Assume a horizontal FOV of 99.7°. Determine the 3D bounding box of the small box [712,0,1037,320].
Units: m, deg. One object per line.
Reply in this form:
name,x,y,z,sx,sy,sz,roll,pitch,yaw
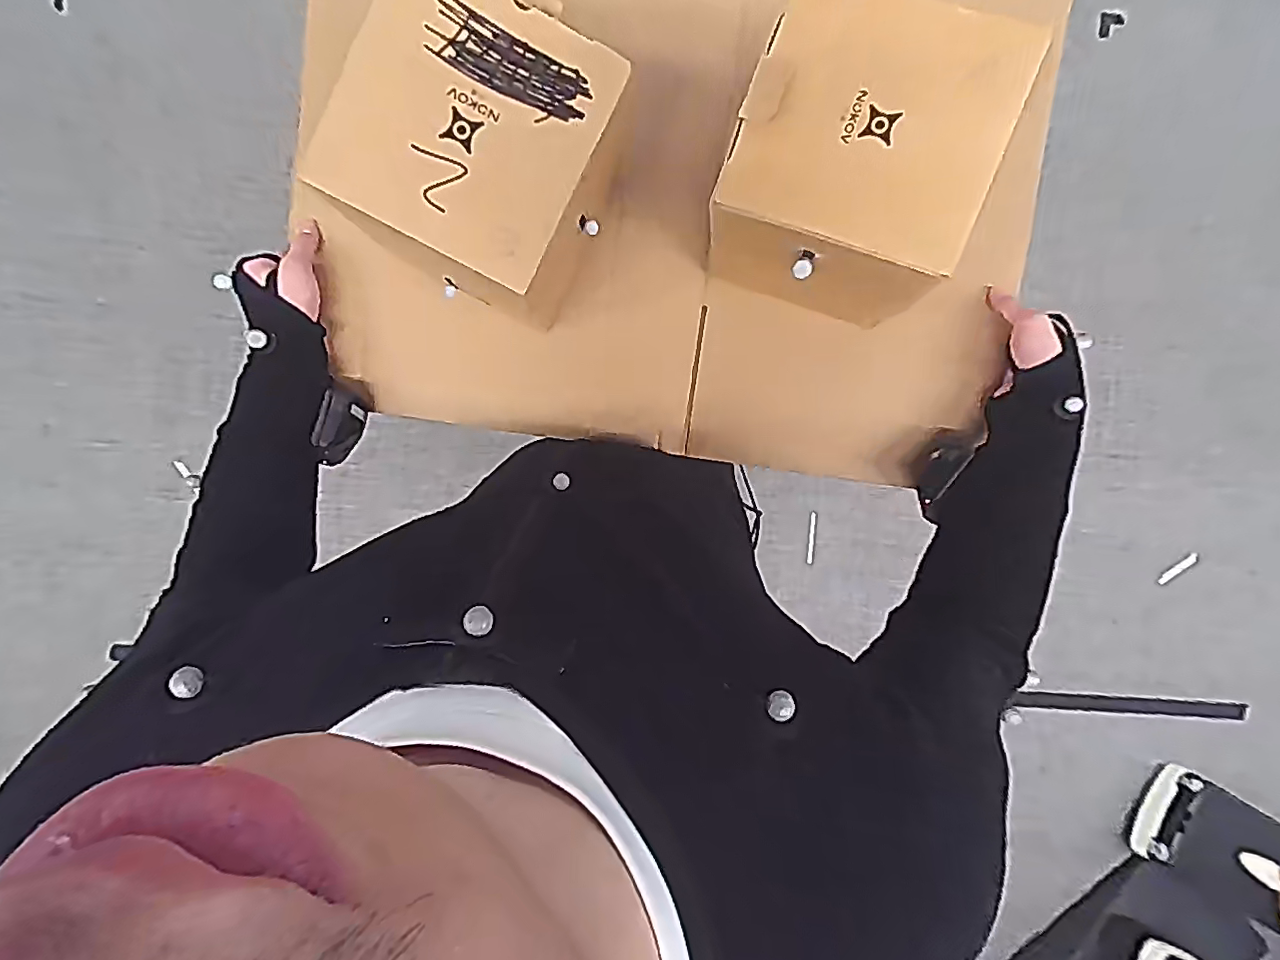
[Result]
small box,0.173,-0.251,0.461,0.179,0.176,0.168,21,96,7
